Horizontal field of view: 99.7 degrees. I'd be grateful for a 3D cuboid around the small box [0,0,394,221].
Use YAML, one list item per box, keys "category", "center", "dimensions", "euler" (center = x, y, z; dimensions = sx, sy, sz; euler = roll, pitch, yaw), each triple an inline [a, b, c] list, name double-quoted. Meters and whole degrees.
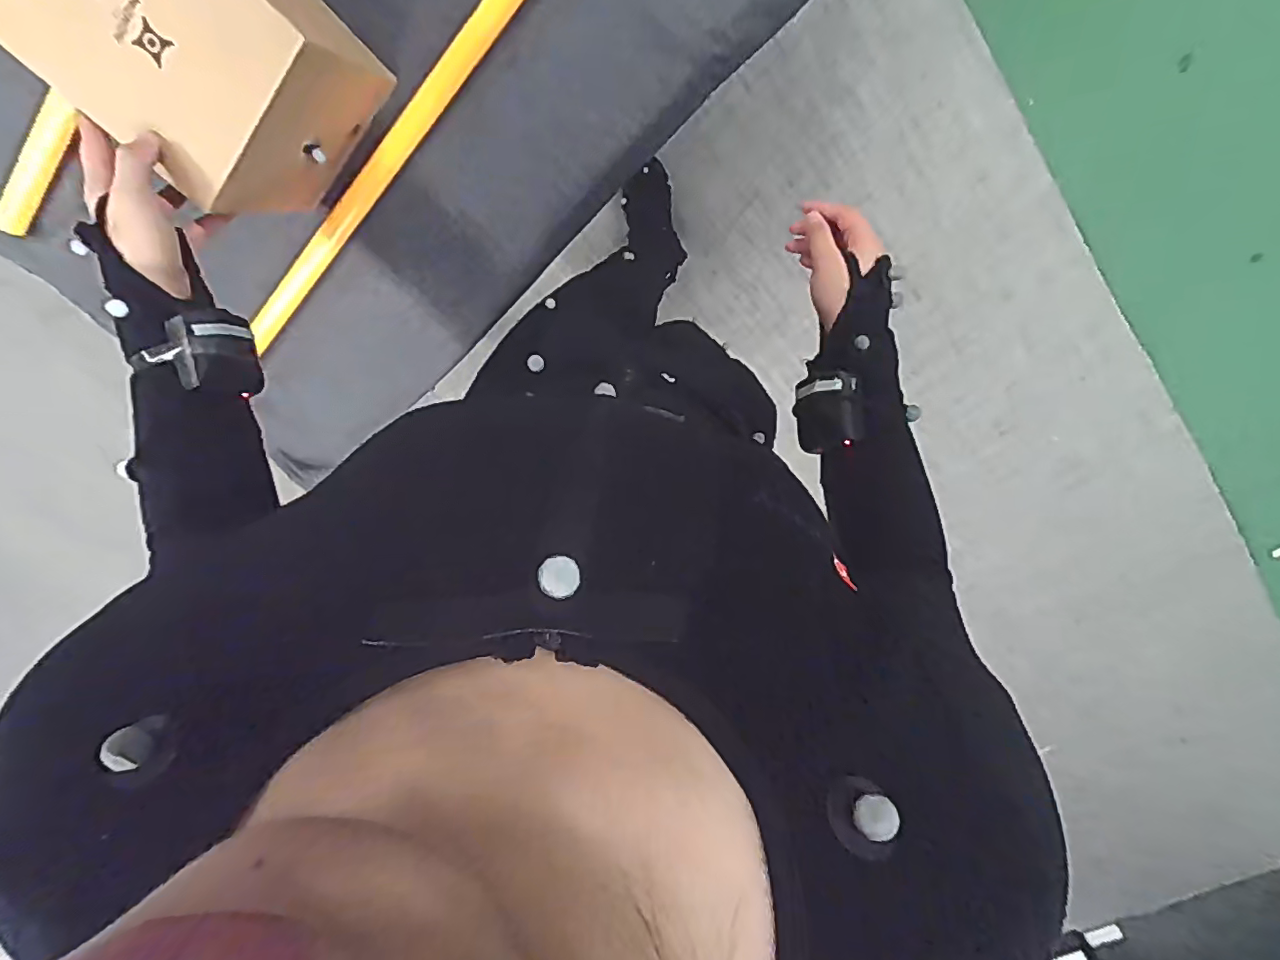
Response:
- category: "small box"
  center: [-0.352, -0.357, 0.465]
  dimensions: [0.168, 0.176, 0.179]
  euler: [-41, 110, 19]
